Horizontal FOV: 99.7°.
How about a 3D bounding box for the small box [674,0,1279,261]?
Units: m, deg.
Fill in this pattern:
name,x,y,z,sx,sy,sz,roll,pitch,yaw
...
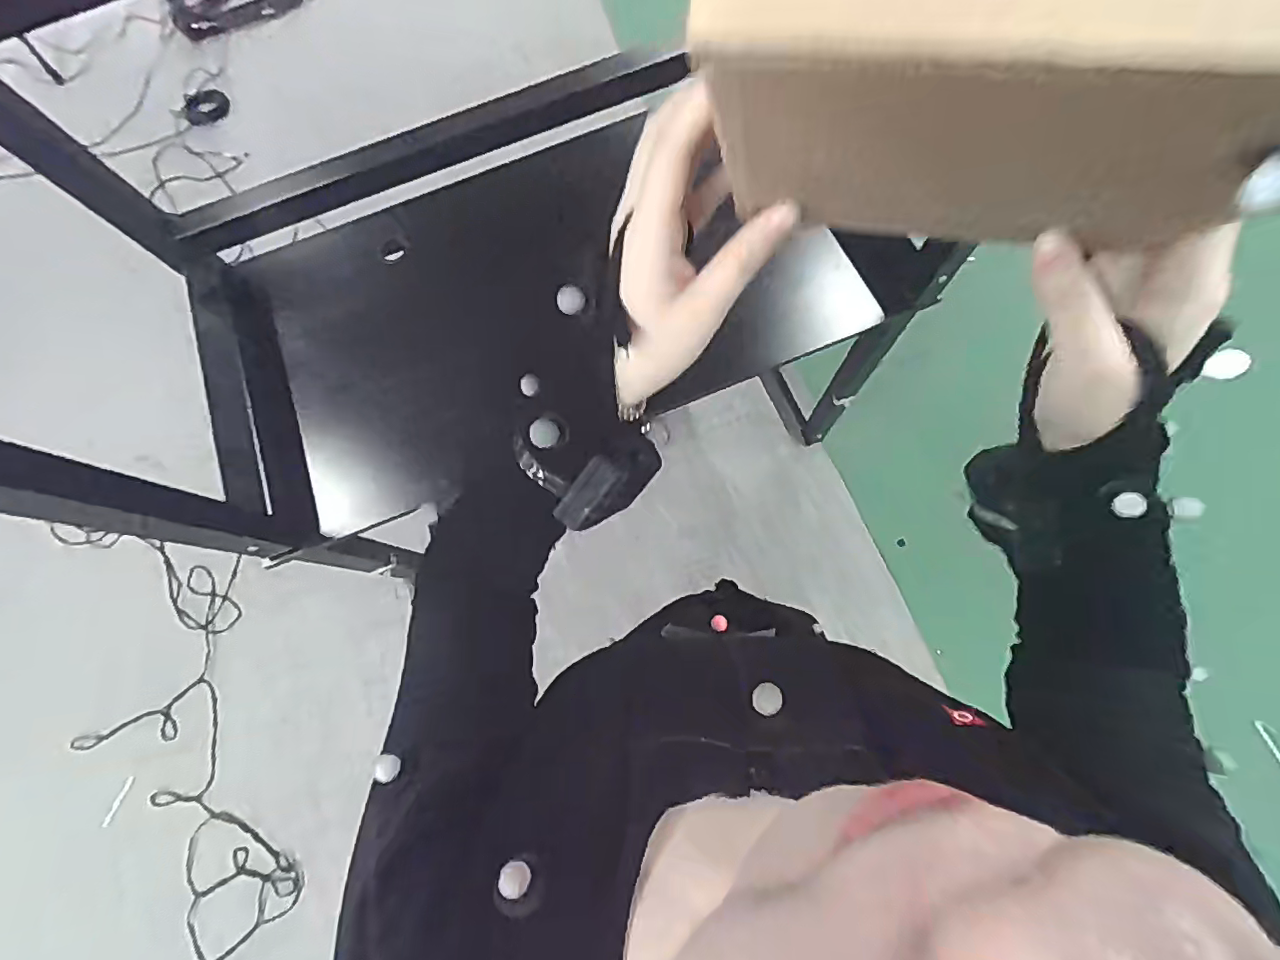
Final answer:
name,x,y,z,sx,sy,sz,roll,pitch,yaw
small box,0.119,-0.170,0.165,0.179,0.176,0.168,10,106,10
